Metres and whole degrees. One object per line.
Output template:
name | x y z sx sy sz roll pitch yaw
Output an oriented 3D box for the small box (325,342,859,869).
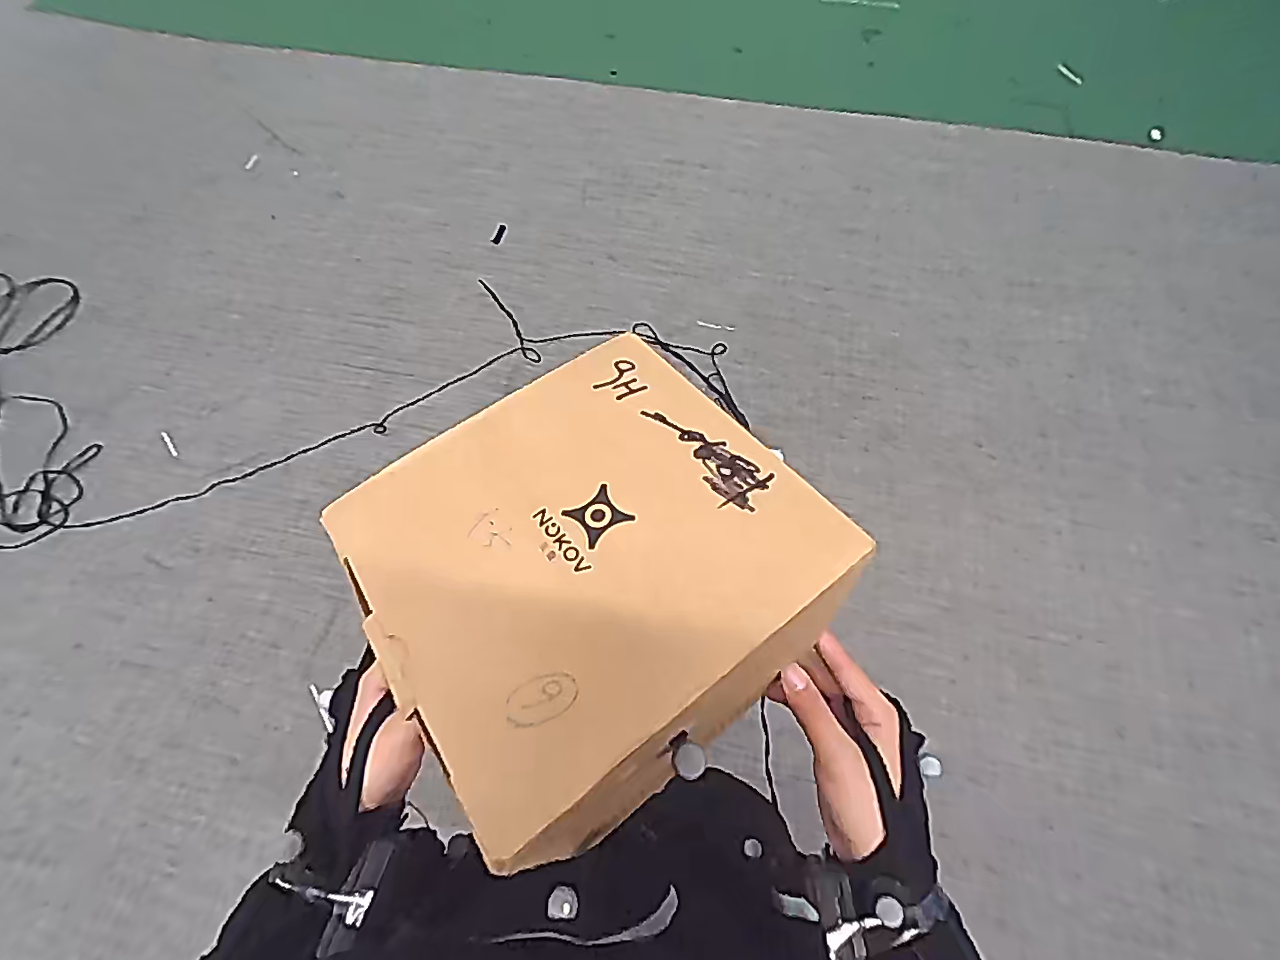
small box | -0.019 0.068 0.293 0.179 0.176 0.168 -35 60 -15
